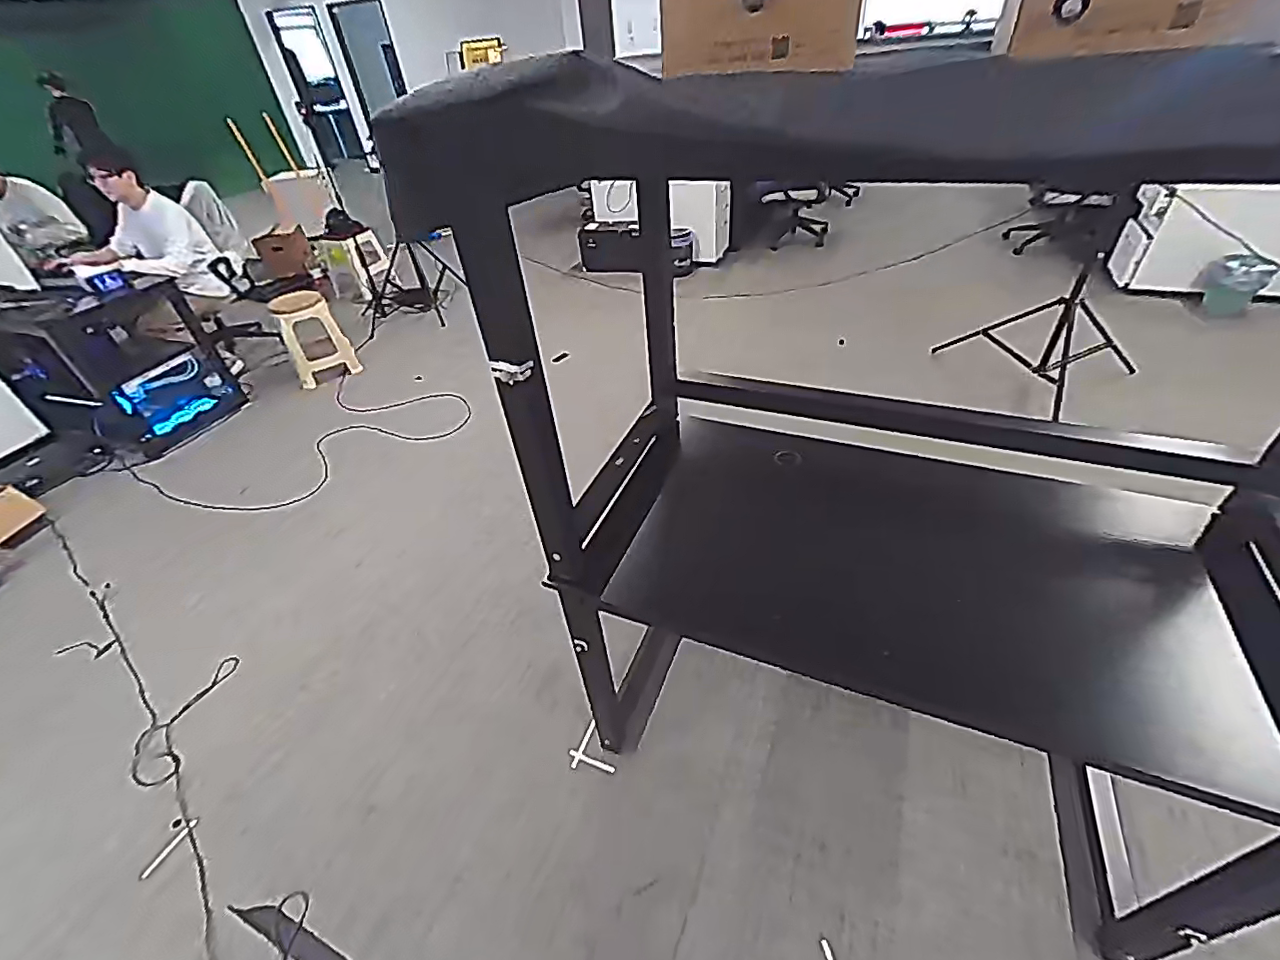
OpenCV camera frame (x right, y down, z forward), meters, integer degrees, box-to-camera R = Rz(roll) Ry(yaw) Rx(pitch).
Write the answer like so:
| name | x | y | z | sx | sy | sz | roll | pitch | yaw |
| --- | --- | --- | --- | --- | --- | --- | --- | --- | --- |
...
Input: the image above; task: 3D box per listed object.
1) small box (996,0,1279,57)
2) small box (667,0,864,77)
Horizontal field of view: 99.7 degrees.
| name | x | y | z | sx | sy | sz | roll | pitch | yaw |
| --- | --- | --- | --- | --- | --- | --- | --- | --- | --- |
| small box | 0.388 | -0.427 | 0.400 | 0.168 | 0.176 | 0.179 | 12 | 41 | 20 |
| small box | 0.117 | -0.471 | 0.484 | 0.168 | 0.176 | 0.179 | 6 | 40 | 14 |
